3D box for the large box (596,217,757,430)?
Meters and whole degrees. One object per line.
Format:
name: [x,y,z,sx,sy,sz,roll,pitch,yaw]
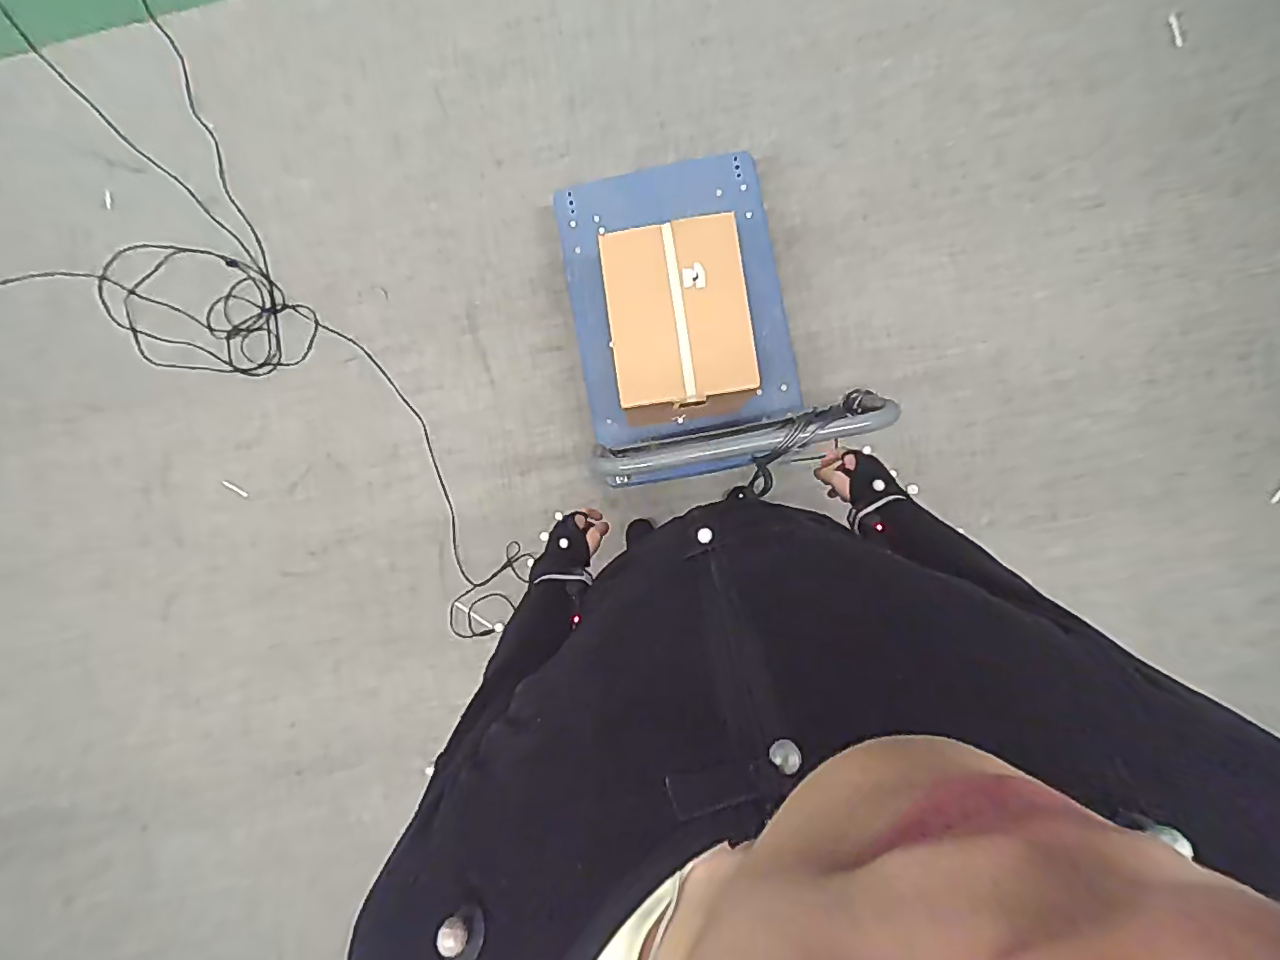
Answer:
large box: [0.089,-0.365,1.359,0.320,0.320,0.408,-8,86,2]
